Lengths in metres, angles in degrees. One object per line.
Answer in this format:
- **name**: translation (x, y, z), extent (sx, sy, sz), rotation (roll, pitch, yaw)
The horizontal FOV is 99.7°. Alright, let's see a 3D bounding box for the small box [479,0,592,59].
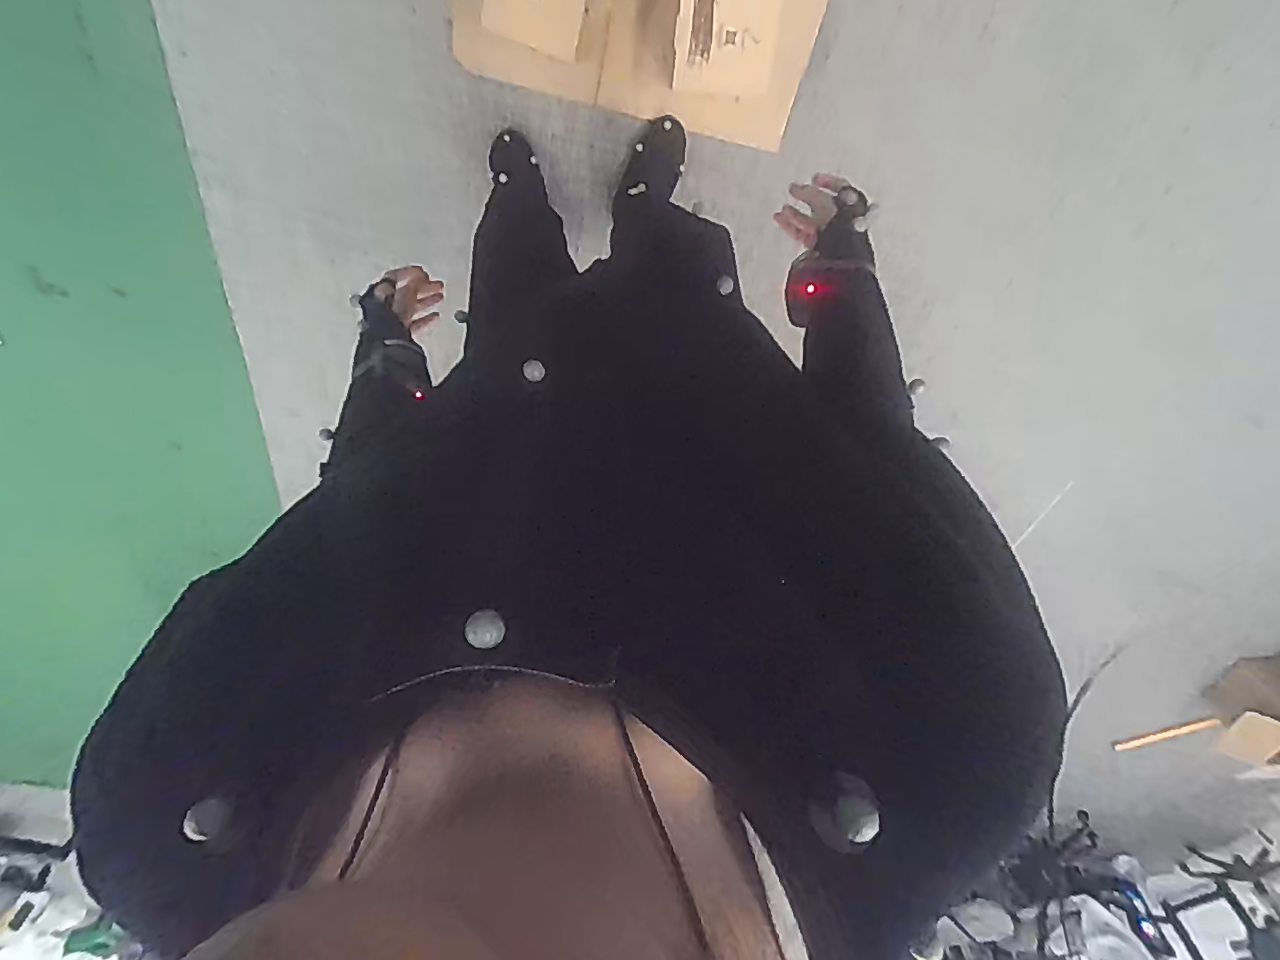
- **small box**: translation (-0.170, -0.872, 0.947), extent (0.168, 0.176, 0.179), rotation (14, 126, -11)
